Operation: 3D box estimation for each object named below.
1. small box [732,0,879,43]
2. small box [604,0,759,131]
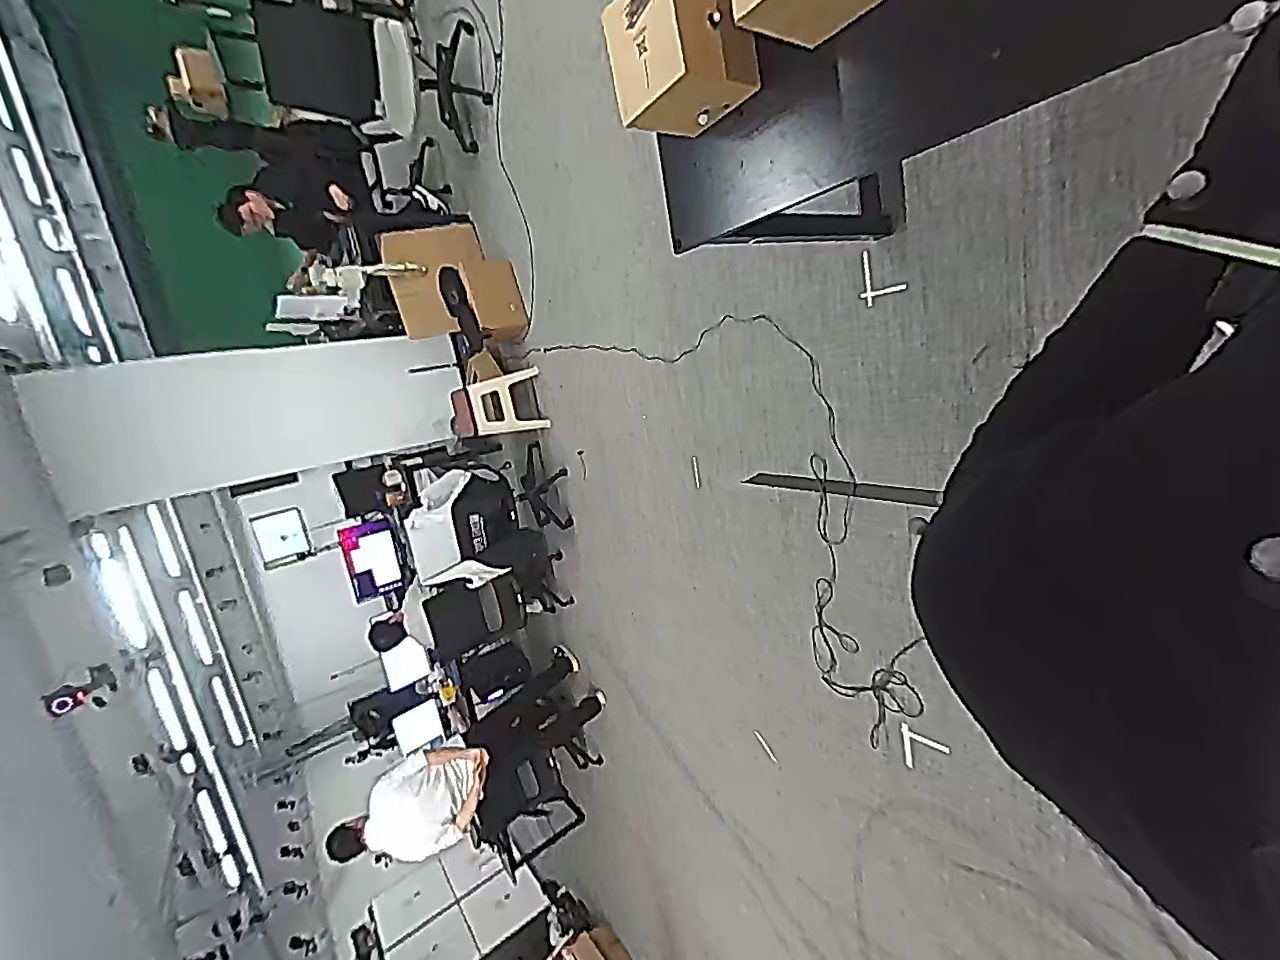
[{"bbox_3d":[0.224,-0.684,0.659,0.179,0.176,0.168,5,109,54],"label":"small box"},{"bbox_3d":[0.069,-0.700,0.876,0.168,0.176,0.179,4,109,55],"label":"small box"}]
